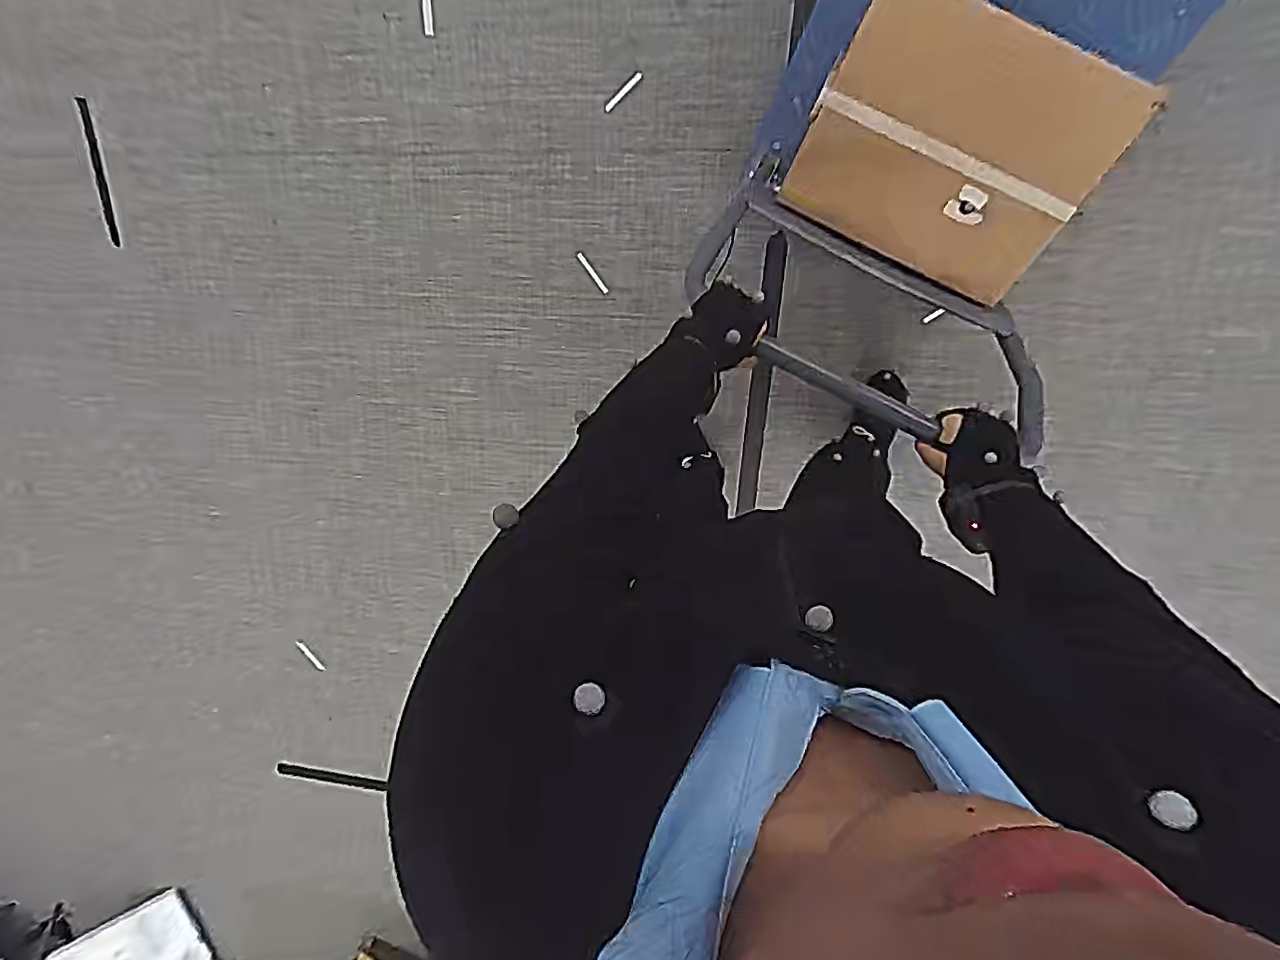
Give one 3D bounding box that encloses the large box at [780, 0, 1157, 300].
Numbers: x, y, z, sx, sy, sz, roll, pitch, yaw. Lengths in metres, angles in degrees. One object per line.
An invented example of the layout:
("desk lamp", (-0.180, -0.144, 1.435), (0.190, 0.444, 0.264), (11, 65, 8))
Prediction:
("large box", (0.501, -0.575, 0.929), (0.408, 0.320, 0.320), (26, 130, 0))
